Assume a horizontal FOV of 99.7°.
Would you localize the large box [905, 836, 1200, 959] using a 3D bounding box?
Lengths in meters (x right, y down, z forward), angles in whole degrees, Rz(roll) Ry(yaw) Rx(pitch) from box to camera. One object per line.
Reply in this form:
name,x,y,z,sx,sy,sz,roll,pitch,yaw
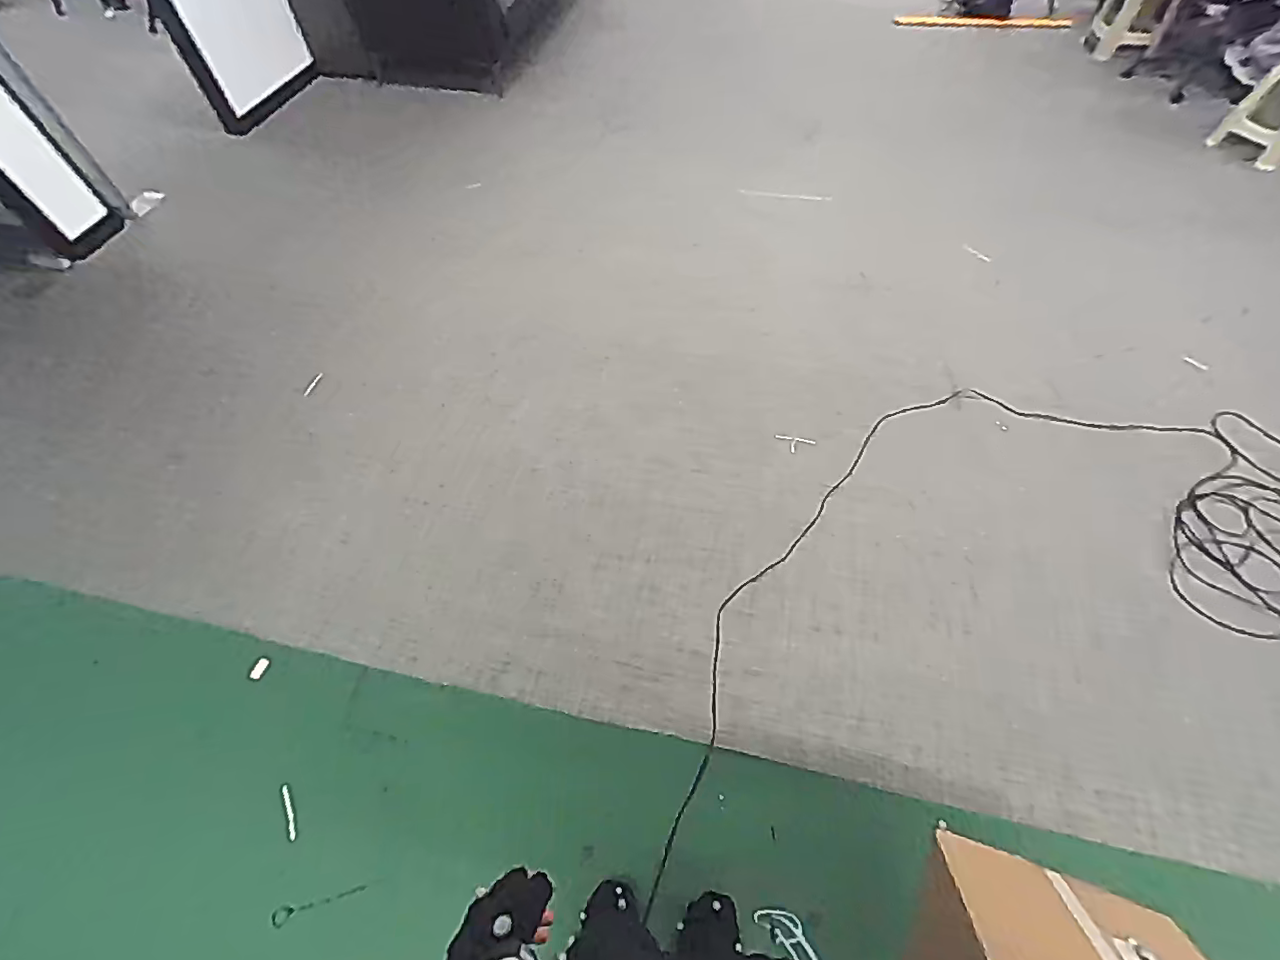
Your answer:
large box,0.513,0.725,0.612,0.320,0.408,0.320,15,92,15
